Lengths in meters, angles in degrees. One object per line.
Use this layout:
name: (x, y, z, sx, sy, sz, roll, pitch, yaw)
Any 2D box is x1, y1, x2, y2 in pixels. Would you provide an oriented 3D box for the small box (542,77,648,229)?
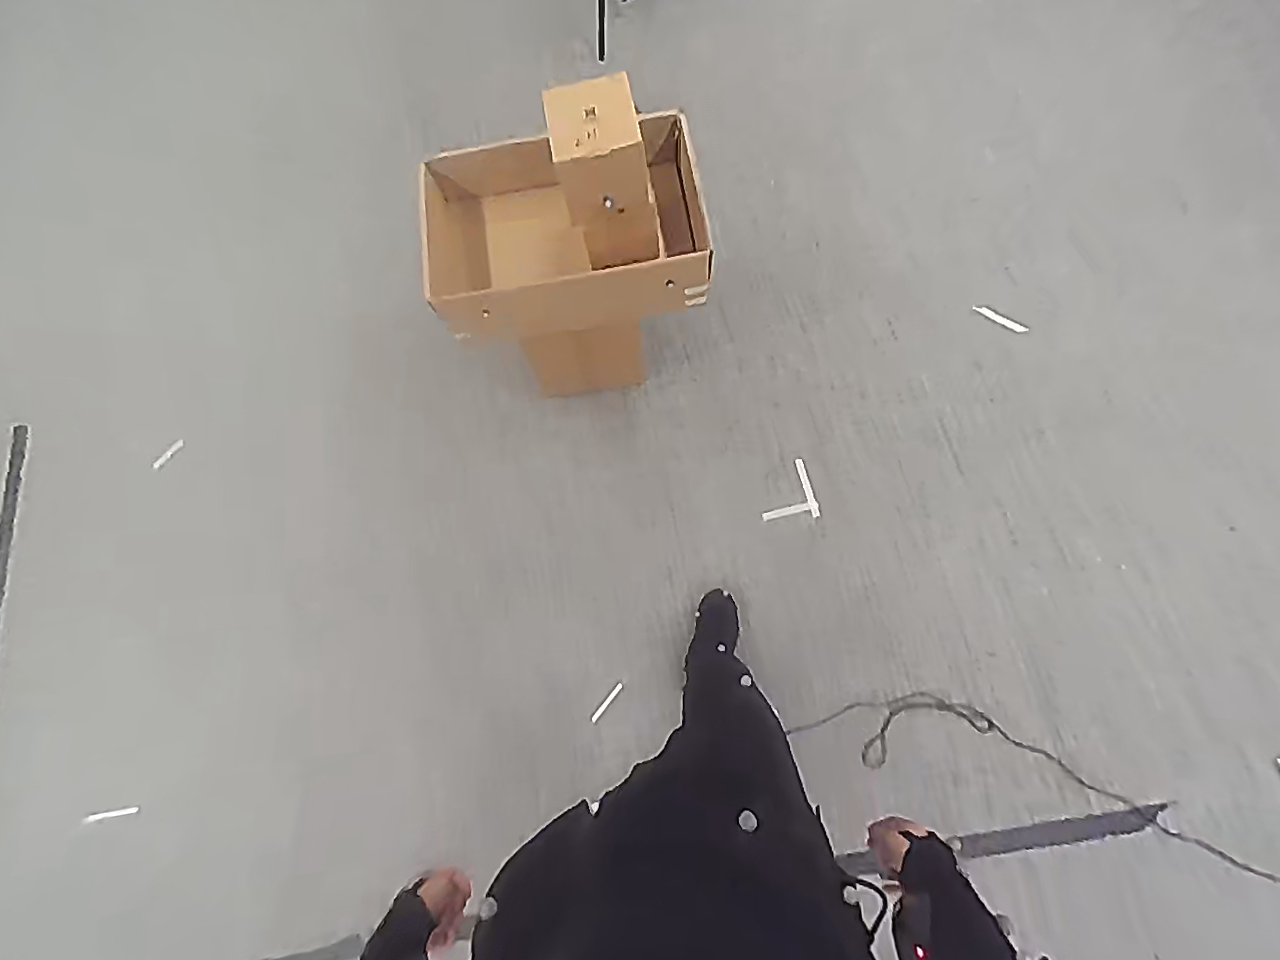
small box: (-0.084, -0.634, 1.062, 0.168, 0.176, 0.179, -12, 74, 3)
